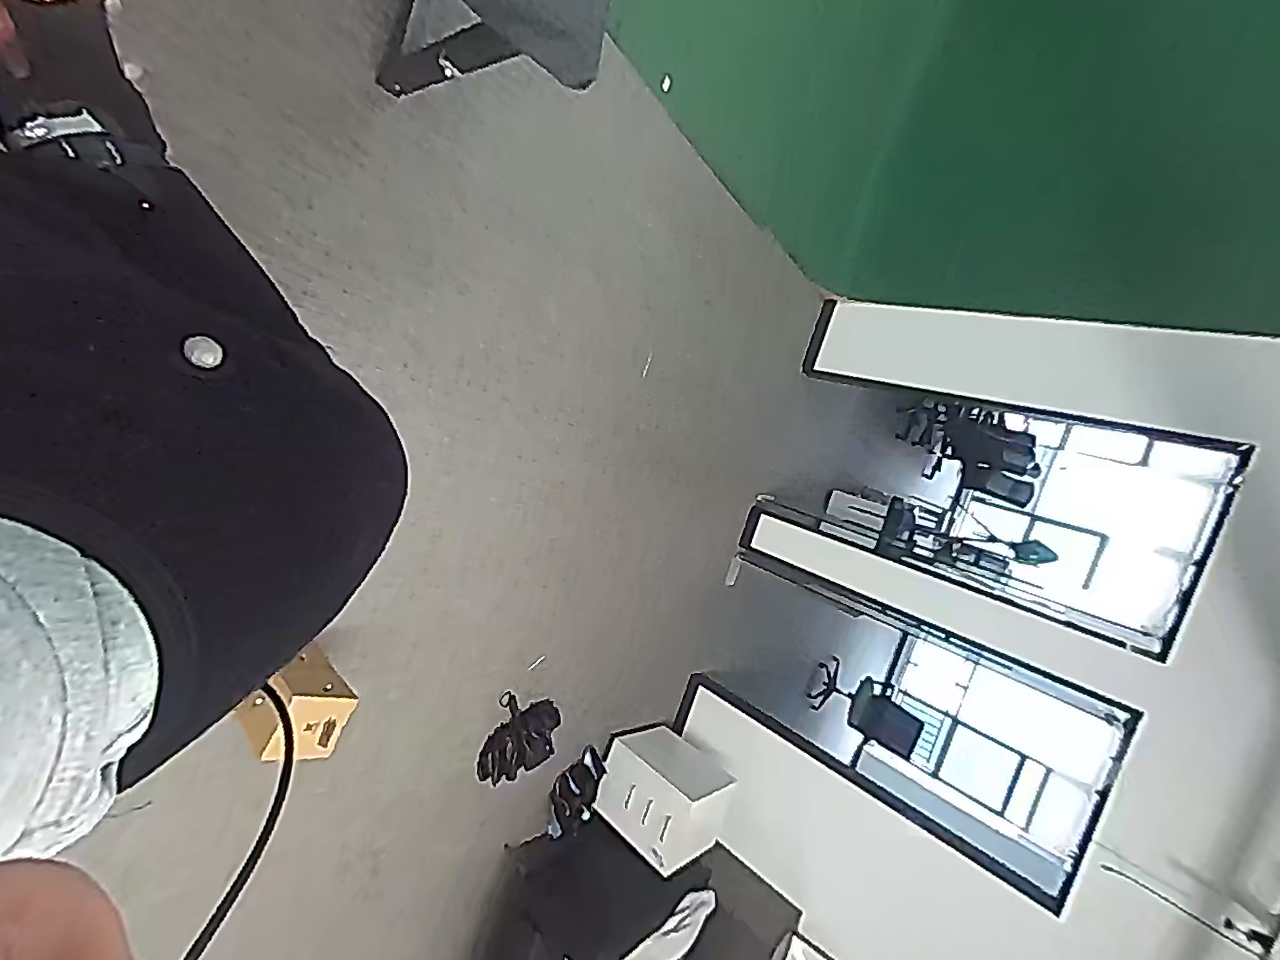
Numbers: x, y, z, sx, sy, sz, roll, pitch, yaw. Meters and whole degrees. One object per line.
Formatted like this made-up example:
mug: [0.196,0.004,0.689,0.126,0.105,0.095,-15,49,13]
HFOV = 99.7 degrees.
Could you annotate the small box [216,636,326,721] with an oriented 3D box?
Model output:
small box: [-1.033,0.552,1.513,0.179,0.176,0.168,33,79,-52]

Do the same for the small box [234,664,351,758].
small box: [-0.909,0.599,1.415,0.179,0.176,0.168,35,77,-52]
